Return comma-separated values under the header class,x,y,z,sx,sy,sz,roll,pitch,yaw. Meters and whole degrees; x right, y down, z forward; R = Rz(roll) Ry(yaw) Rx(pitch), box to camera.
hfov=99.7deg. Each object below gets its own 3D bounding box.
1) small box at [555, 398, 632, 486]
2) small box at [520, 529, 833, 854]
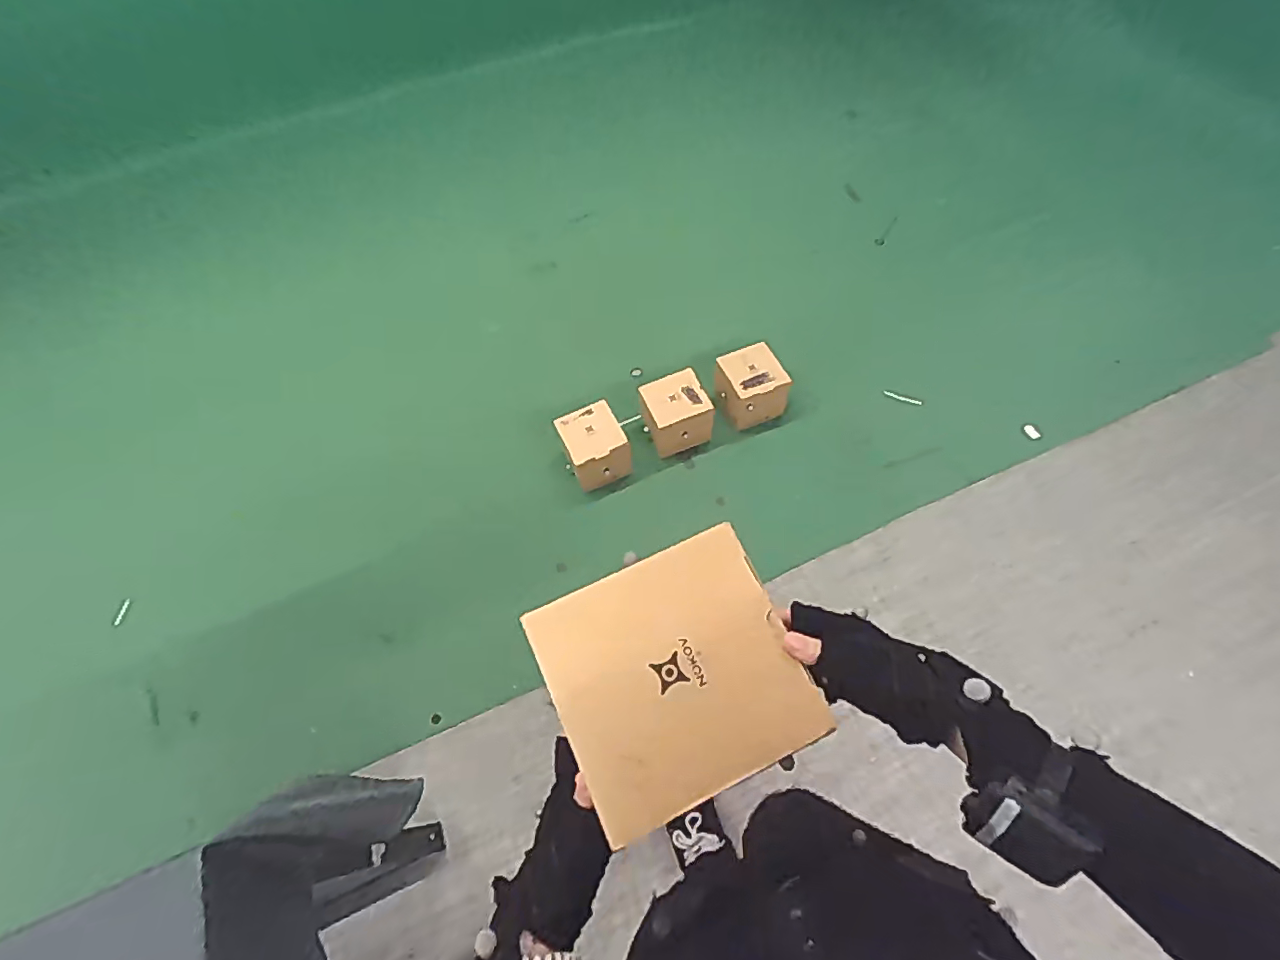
class,x,y,z,sx,sy,sz,roll,pitch,yaw
small box,-0.131,-0.103,1.599,0.168,0.176,0.179,-24,64,-8
small box,0.022,0.166,0.456,0.179,0.176,0.168,-23,73,-9
